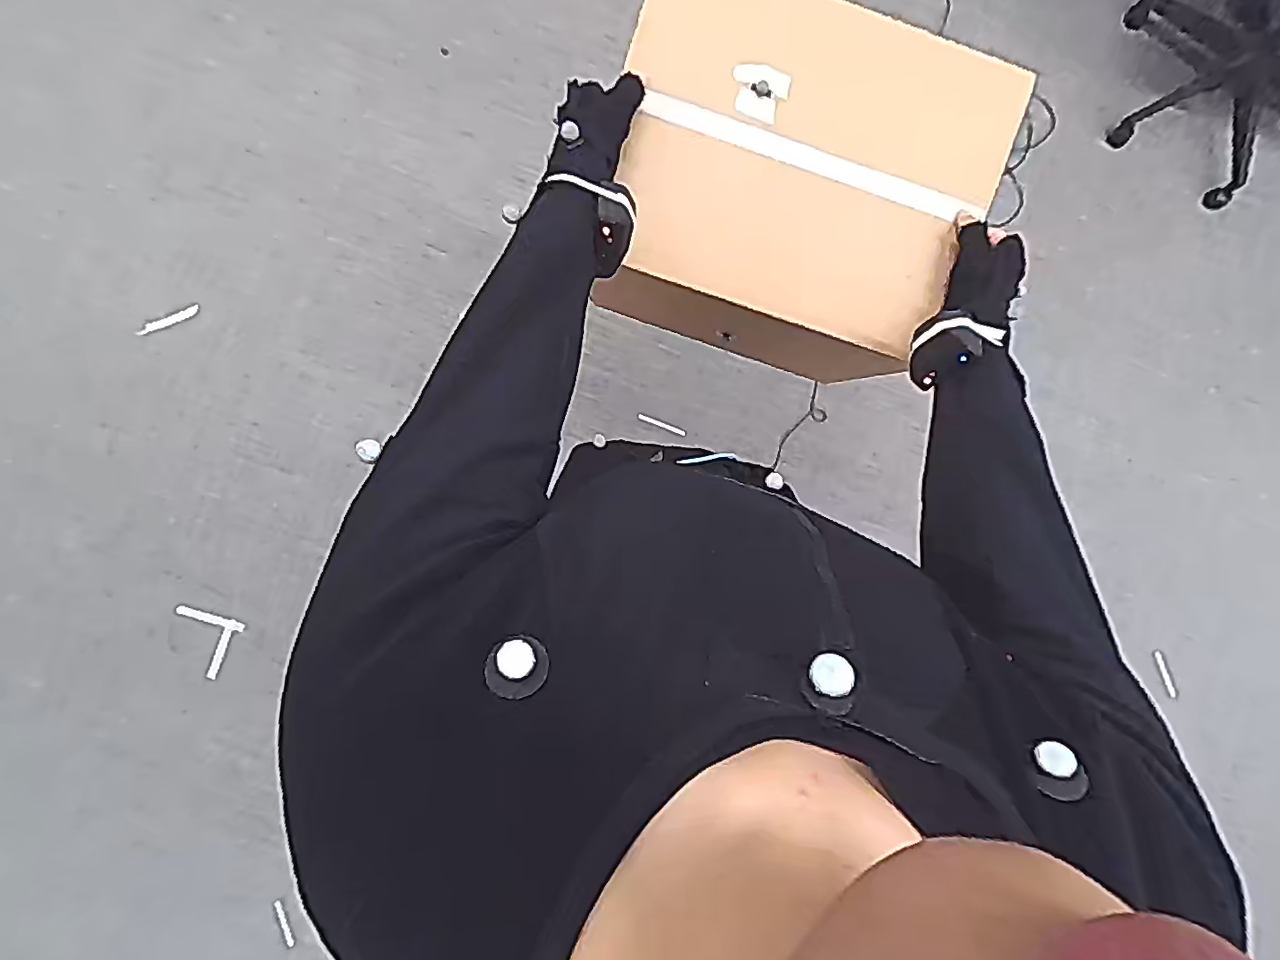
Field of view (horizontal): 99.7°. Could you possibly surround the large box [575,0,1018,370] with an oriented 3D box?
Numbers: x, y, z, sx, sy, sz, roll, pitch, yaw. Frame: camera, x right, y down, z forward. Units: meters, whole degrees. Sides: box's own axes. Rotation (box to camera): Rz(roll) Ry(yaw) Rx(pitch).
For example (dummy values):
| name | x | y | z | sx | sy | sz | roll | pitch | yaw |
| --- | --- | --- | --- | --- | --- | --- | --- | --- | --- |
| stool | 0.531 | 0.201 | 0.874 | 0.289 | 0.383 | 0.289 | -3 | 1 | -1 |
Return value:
| name | x | y | z | sx | sy | sz | roll | pitch | yaw |
| --- | --- | --- | --- | --- | --- | --- | --- | --- | --- |
| large box | 0.162 | -0.356 | 0.716 | 0.408 | 0.320 | 0.320 | 18 | 96 | -3 |
